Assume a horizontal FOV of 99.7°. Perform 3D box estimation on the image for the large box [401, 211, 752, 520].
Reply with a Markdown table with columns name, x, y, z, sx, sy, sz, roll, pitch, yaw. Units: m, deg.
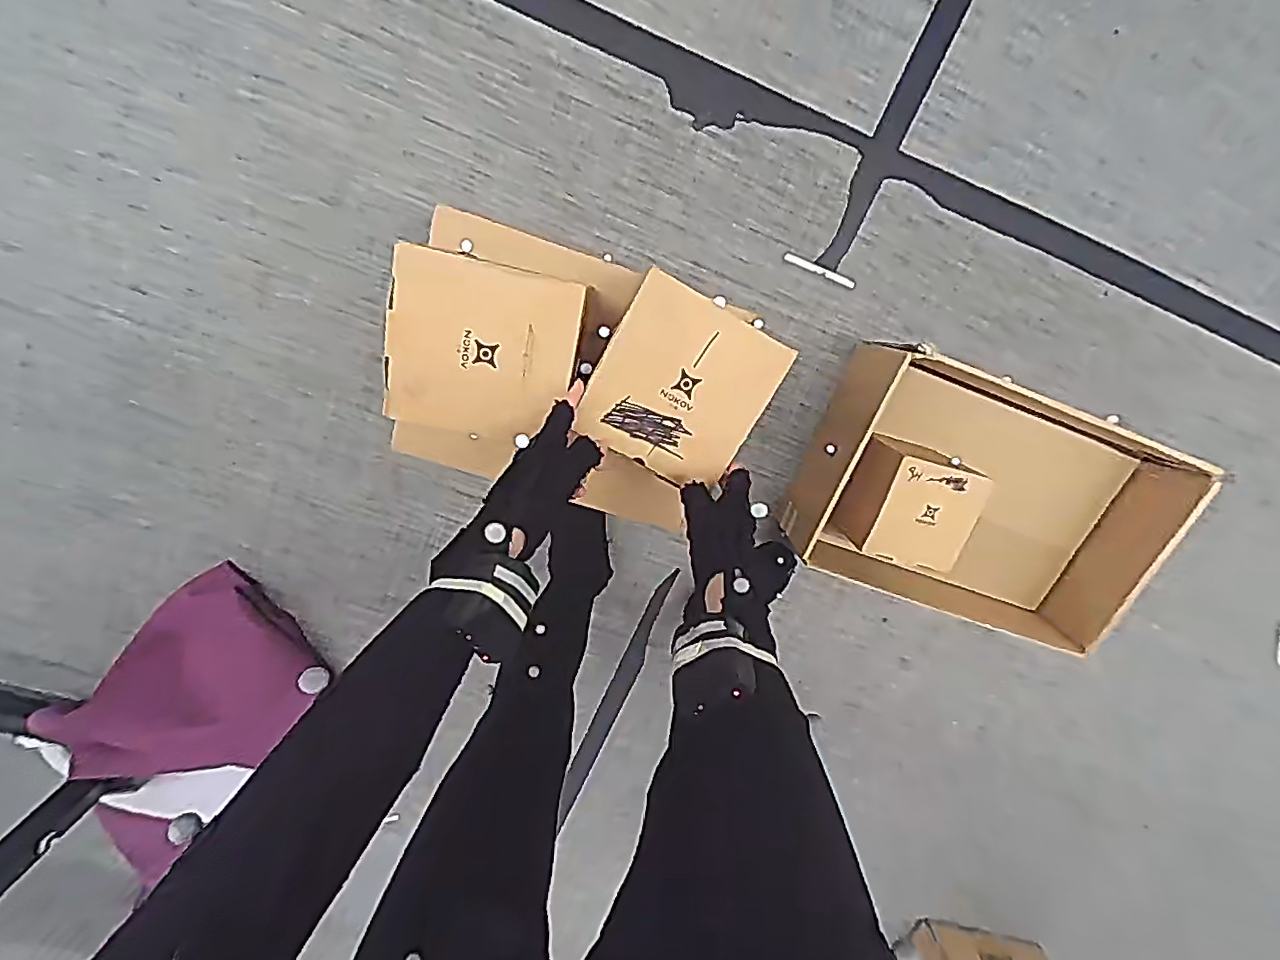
| name | x | y | z | sx | sy | sz | roll | pitch | yaw |
| --- | --- | --- | --- | --- | --- | --- | --- | --- | --- |
| large box | -0.098 | -0.176 | 0.842 | 0.408 | 0.320 | 0.320 | 16 | 108 | -8 |
